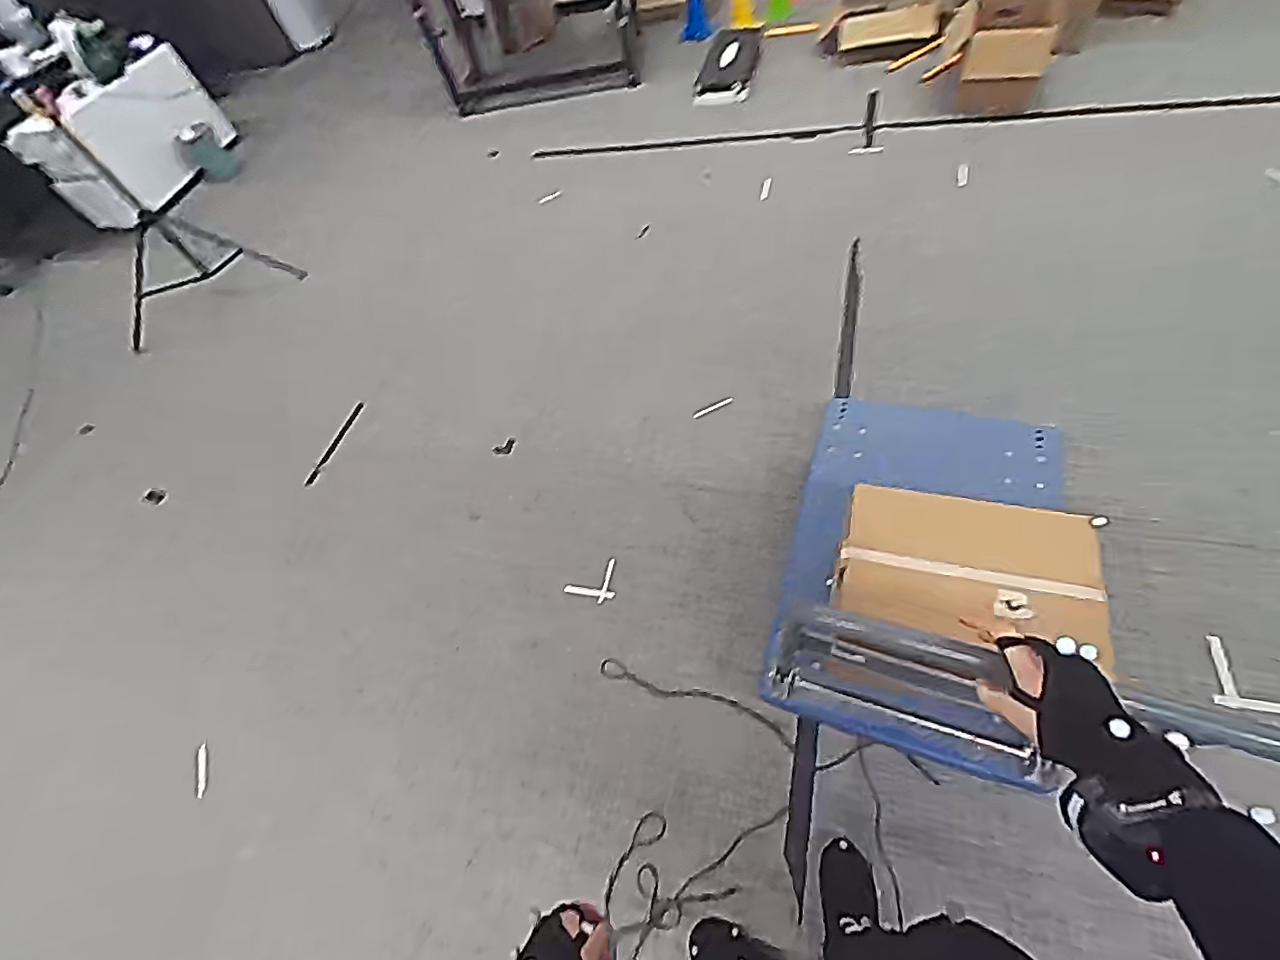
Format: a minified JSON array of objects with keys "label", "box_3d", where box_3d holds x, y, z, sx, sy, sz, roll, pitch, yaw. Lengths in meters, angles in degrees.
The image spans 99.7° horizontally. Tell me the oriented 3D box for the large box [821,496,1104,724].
[{"label":"large box","box_3d":[0.601,0.262,1.092,0.408,0.320,0.320,9,61,17]}]
